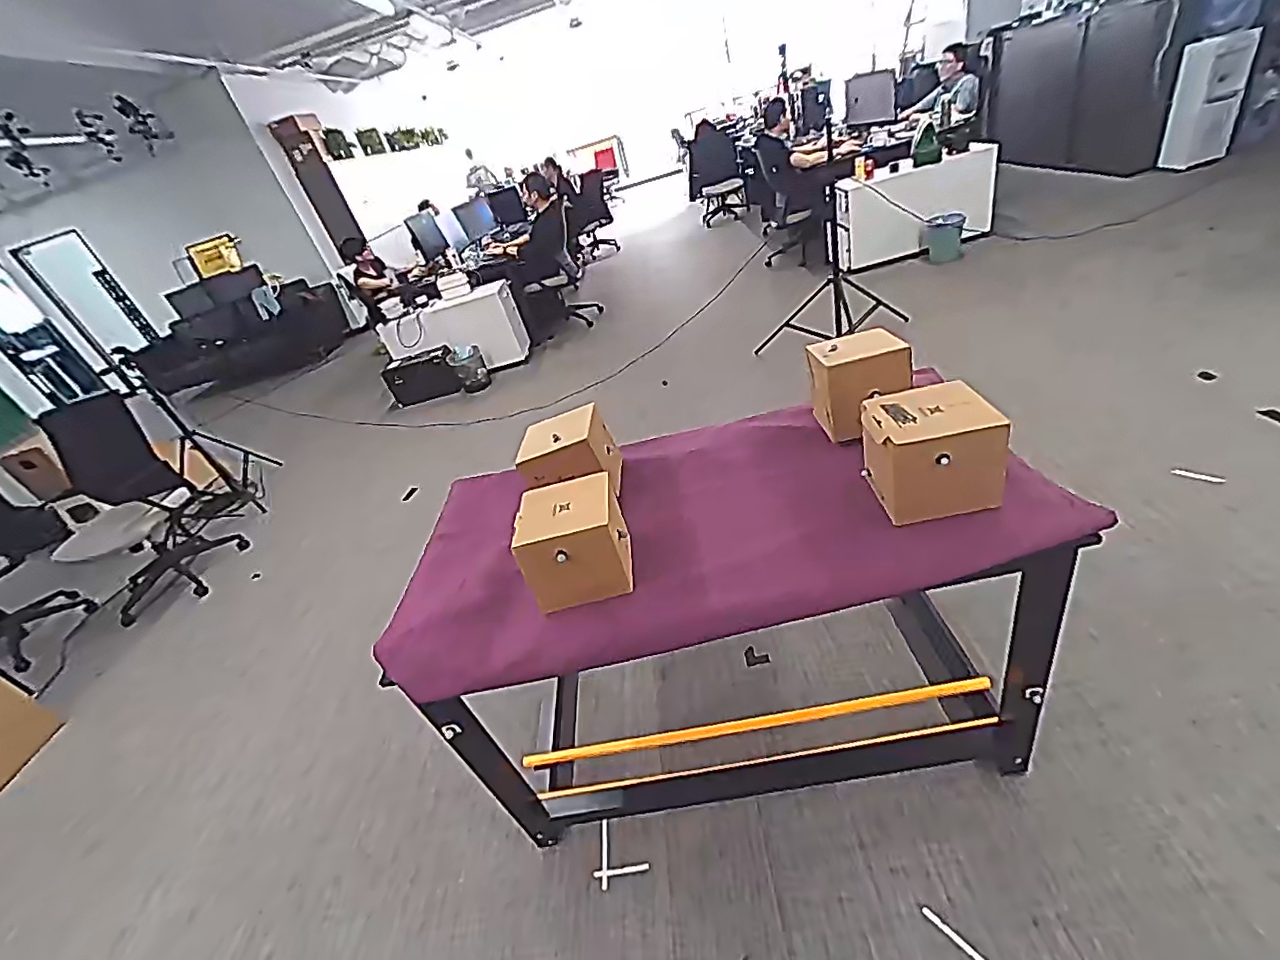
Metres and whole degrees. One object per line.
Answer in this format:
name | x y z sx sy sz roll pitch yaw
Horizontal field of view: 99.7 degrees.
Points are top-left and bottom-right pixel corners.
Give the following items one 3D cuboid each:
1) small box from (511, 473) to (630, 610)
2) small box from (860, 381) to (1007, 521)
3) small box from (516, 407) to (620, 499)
small box | -0.119 0.115 1.010 0.179 0.176 0.168 -14 33 6
small box | 0.503 -0.048 0.945 0.179 0.176 0.168 -12 32 9
small box | -0.154 -0.043 1.233 0.179 0.168 0.176 -18 31 14
